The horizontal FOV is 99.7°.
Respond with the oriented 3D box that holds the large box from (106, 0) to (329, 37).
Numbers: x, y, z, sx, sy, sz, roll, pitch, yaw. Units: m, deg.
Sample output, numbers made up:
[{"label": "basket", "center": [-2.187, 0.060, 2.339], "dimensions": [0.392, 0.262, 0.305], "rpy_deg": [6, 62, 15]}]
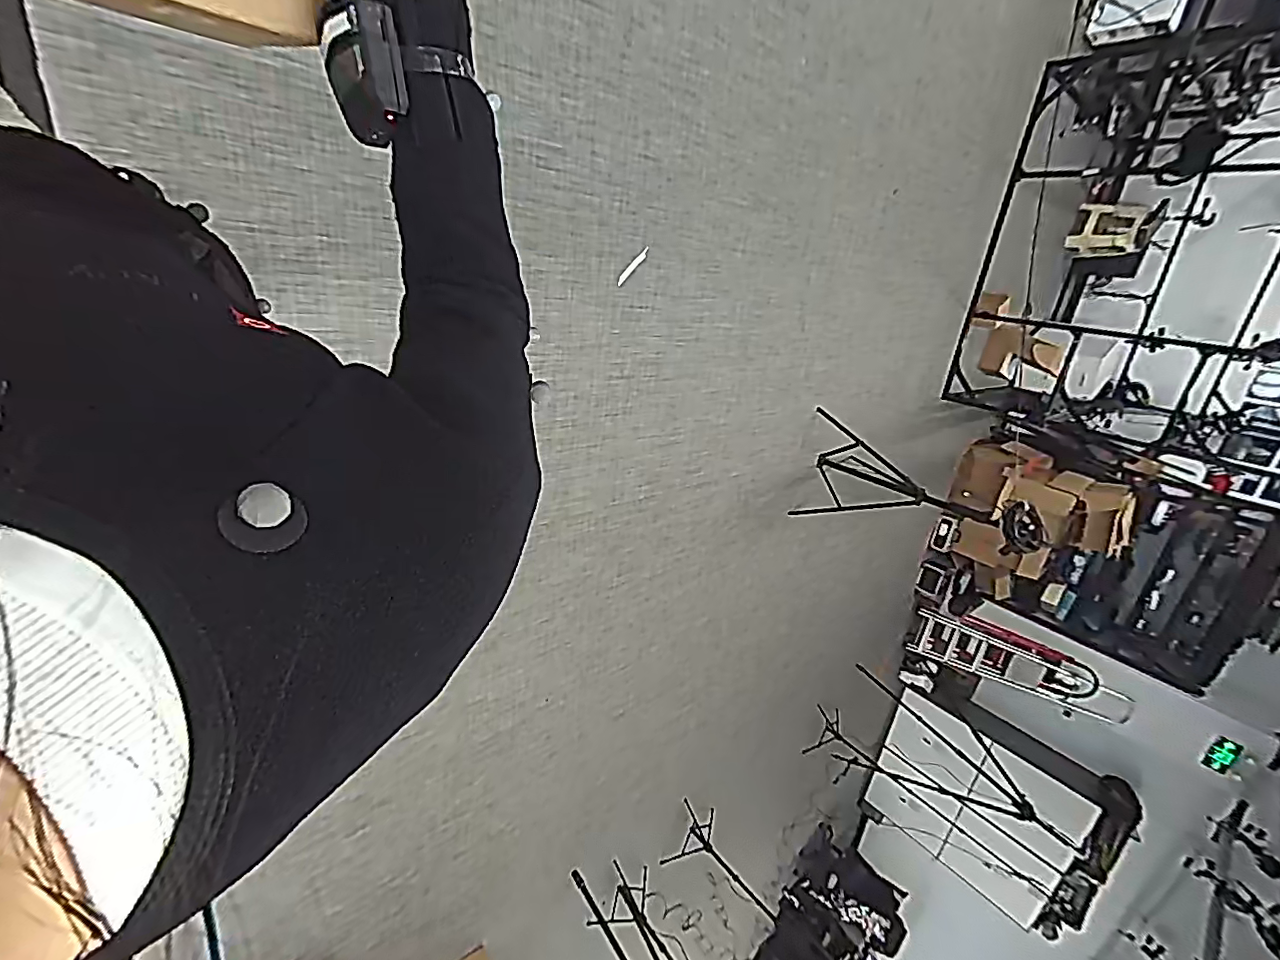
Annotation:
[{"label": "large box", "center": [-0.416, -0.459, 0.249], "dimensions": [0.408, 0.320, 0.320], "rpy_deg": [-12, 129, -39]}]
